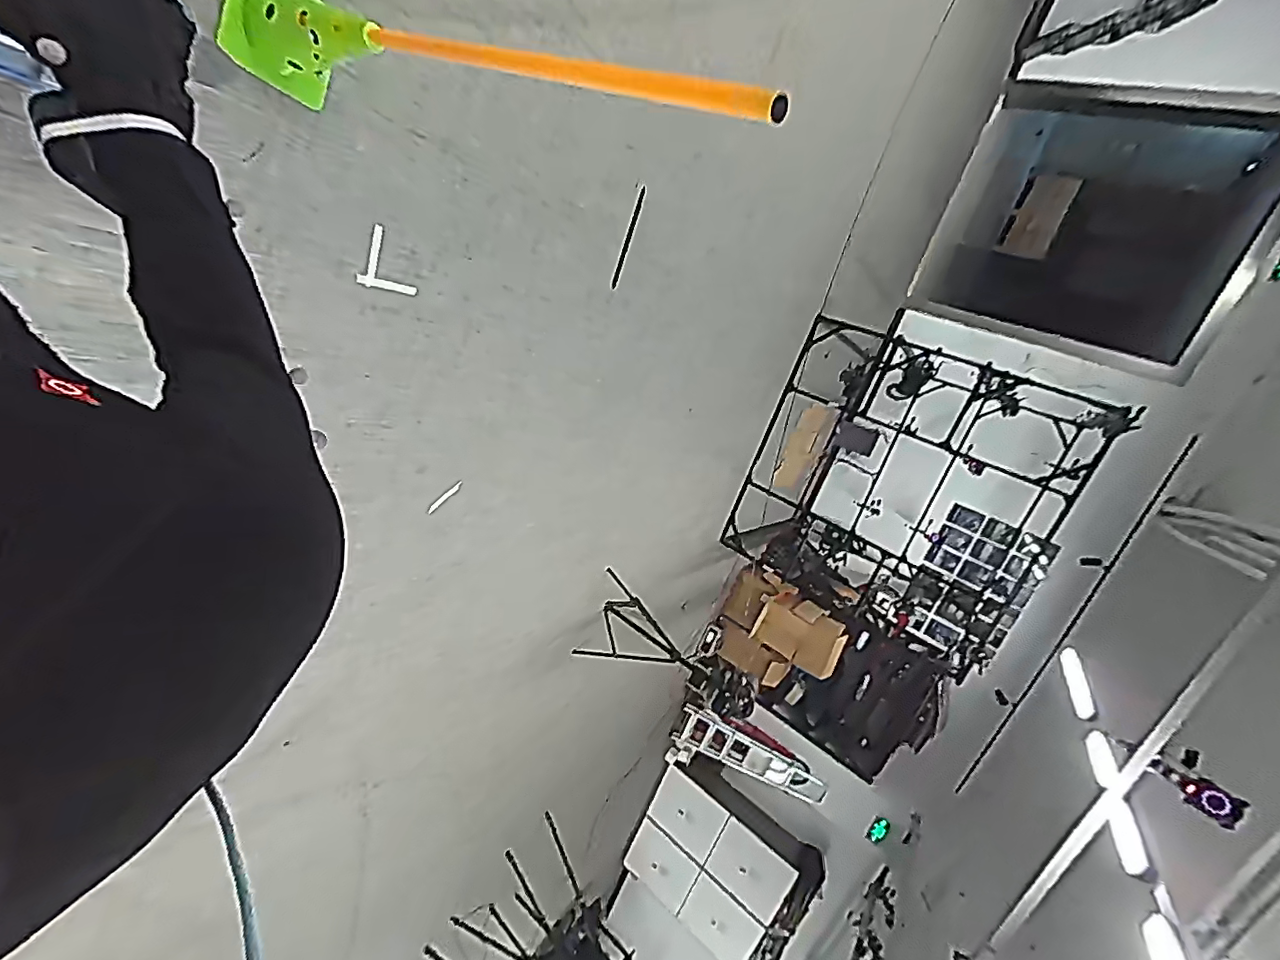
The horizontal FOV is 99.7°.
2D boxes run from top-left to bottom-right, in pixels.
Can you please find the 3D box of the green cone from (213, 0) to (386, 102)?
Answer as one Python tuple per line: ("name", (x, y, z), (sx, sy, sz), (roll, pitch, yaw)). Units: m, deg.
("green cone", (-0.603, -0.847, 1.020), (0.202, 0.368, 0.200), (2, 114, -60))
